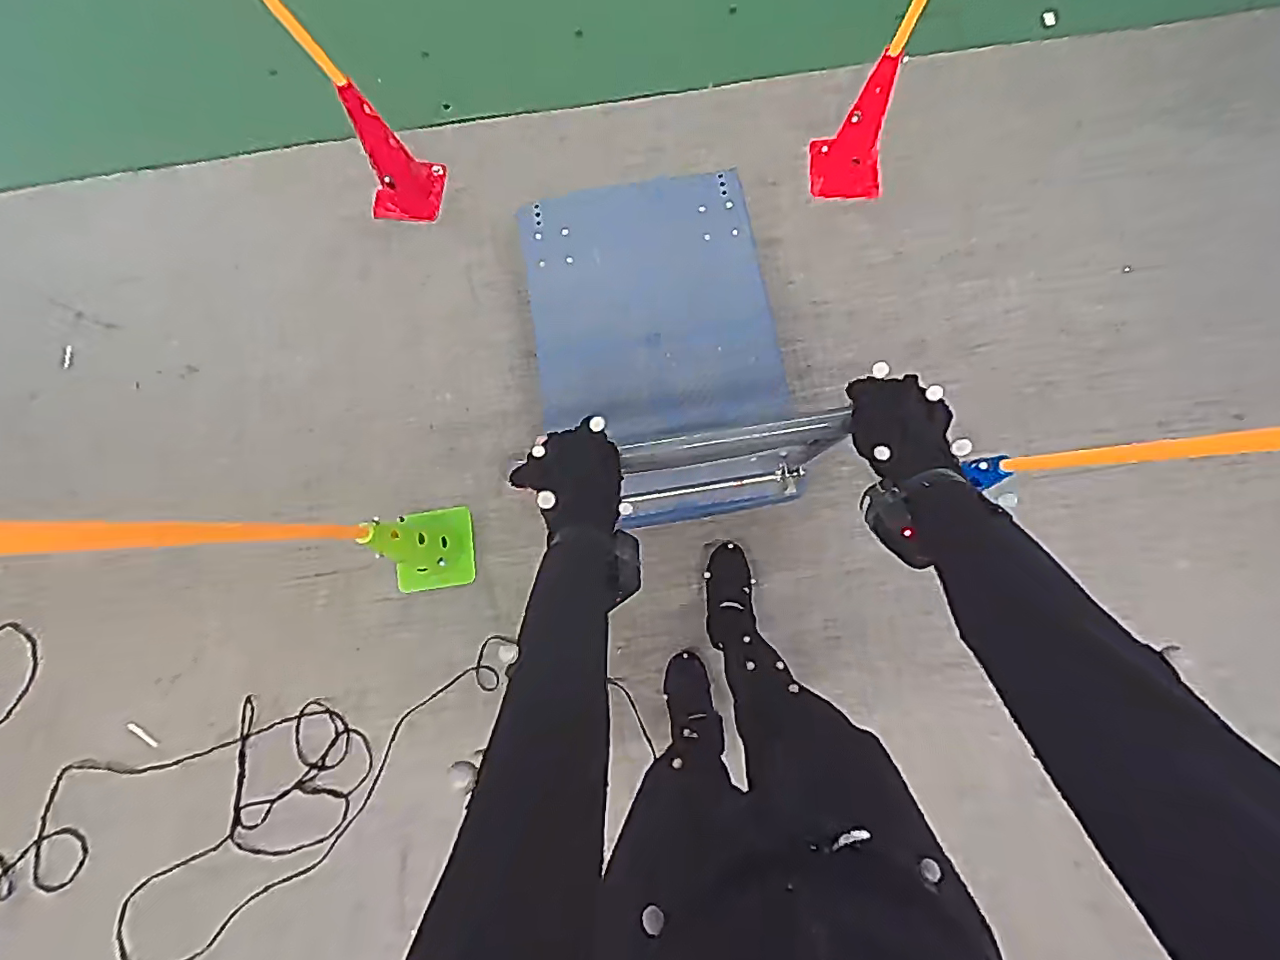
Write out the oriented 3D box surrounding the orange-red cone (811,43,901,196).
[{"bbox_3d":[0.589,-0.945,1.403,0.198,0.360,0.199,3,79,4],"label":"orange-red cone"}]
